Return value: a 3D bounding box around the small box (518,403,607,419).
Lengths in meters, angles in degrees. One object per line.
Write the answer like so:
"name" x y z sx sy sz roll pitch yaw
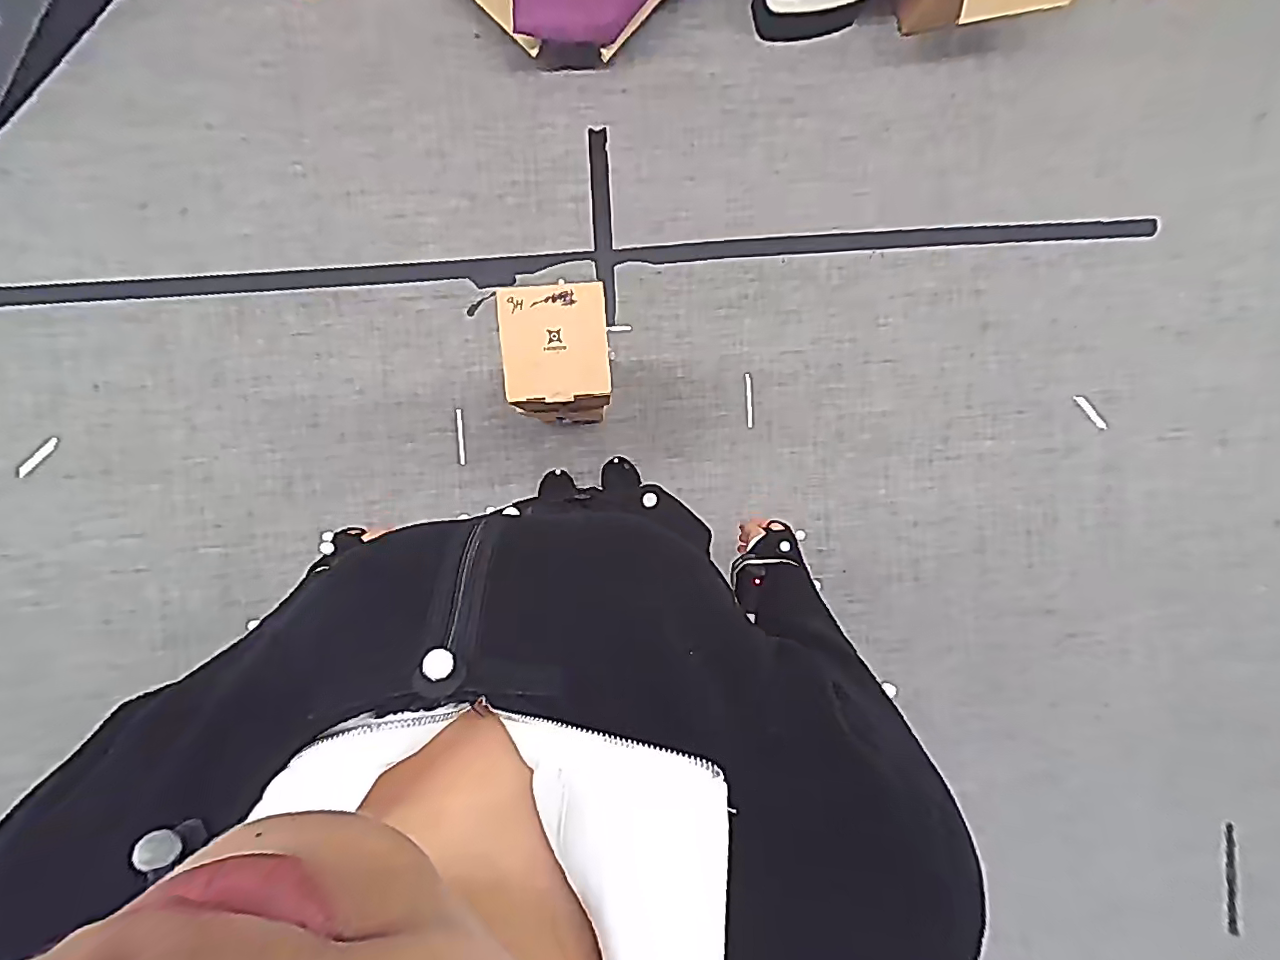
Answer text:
"small box" -0.149 -0.214 1.075 0.168 0.176 0.179 0 94 -3

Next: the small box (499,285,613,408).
"small box" -0.133 -0.214 0.911 0.168 0.176 0.179 -5 94 -3
